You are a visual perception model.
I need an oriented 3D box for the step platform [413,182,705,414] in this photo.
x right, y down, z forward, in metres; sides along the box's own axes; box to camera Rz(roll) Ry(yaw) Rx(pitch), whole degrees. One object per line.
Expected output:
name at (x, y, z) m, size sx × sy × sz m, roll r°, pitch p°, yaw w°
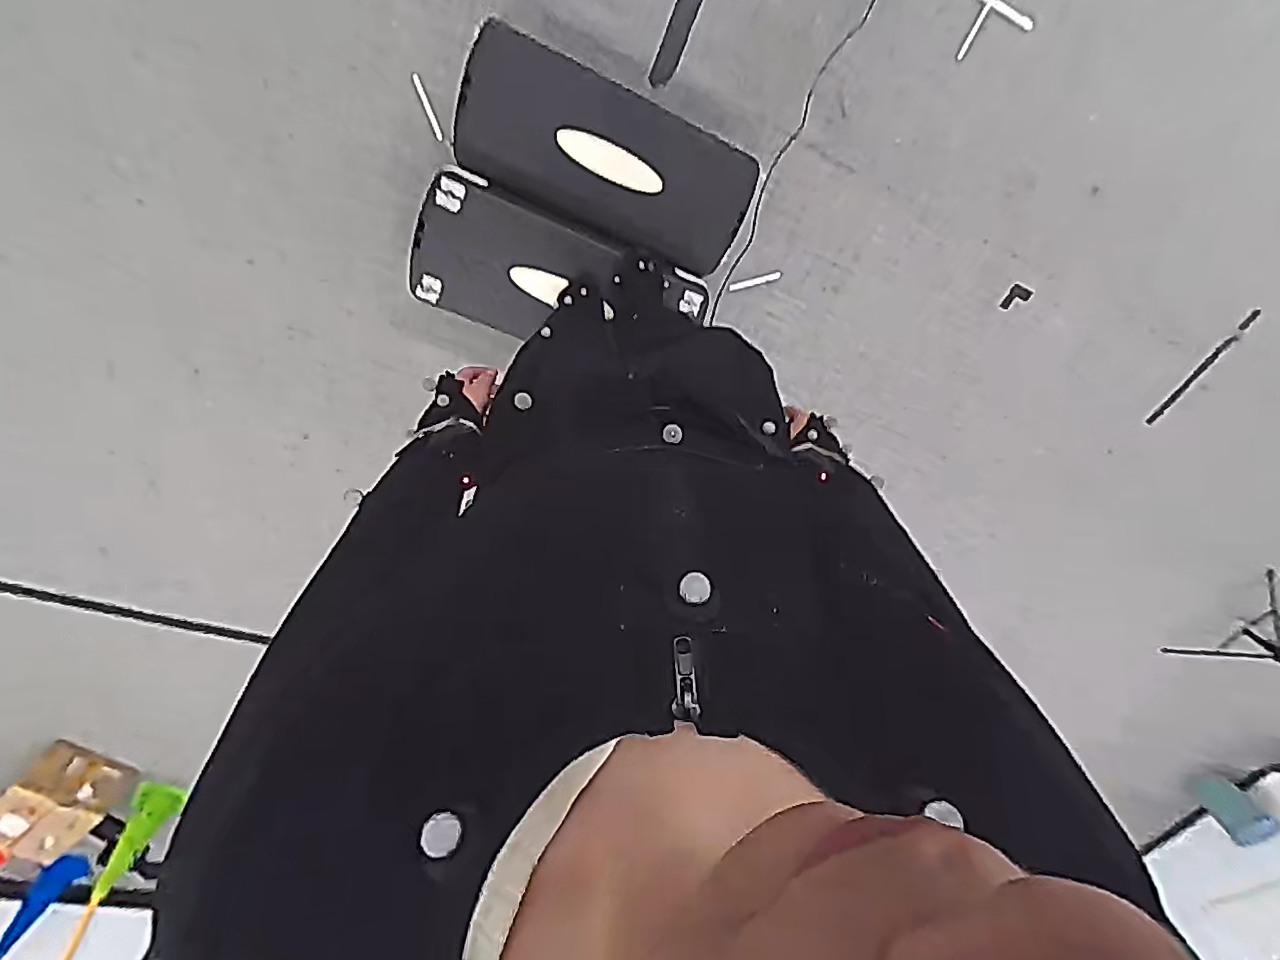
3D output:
step platform at (-0.182, -0.426, 1.326) m, size 0.684 × 0.204 × 0.286 m, roll 23°, pitch 114°, yaw -15°
